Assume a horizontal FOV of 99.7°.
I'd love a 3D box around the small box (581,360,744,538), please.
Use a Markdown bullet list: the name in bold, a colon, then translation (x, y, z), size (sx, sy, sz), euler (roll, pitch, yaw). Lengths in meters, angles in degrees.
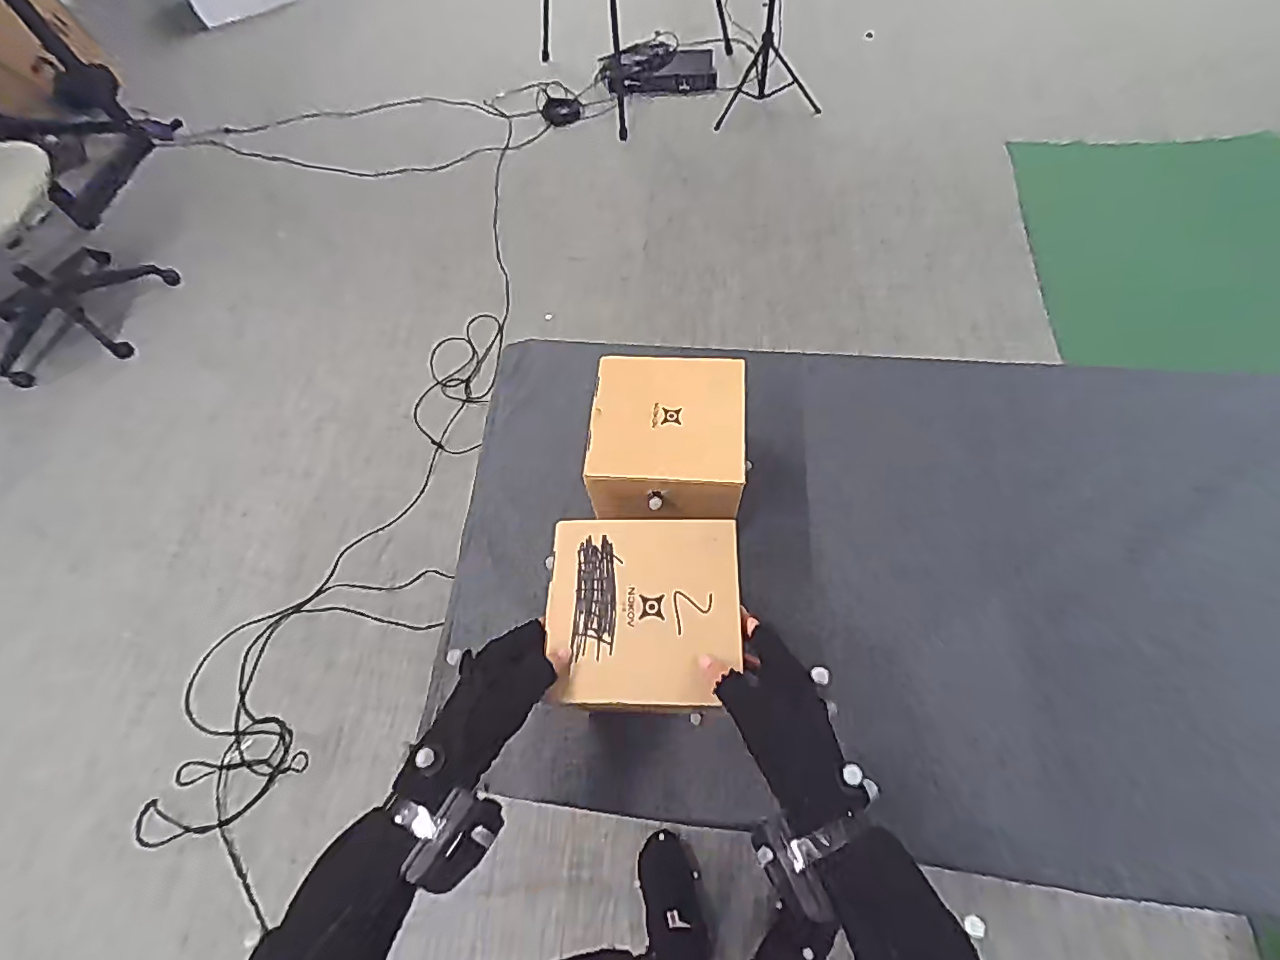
- **small box**: translation (0.034, -0.032, 0.681), size (0.179, 0.176, 0.168), euler (1, 63, 6)
